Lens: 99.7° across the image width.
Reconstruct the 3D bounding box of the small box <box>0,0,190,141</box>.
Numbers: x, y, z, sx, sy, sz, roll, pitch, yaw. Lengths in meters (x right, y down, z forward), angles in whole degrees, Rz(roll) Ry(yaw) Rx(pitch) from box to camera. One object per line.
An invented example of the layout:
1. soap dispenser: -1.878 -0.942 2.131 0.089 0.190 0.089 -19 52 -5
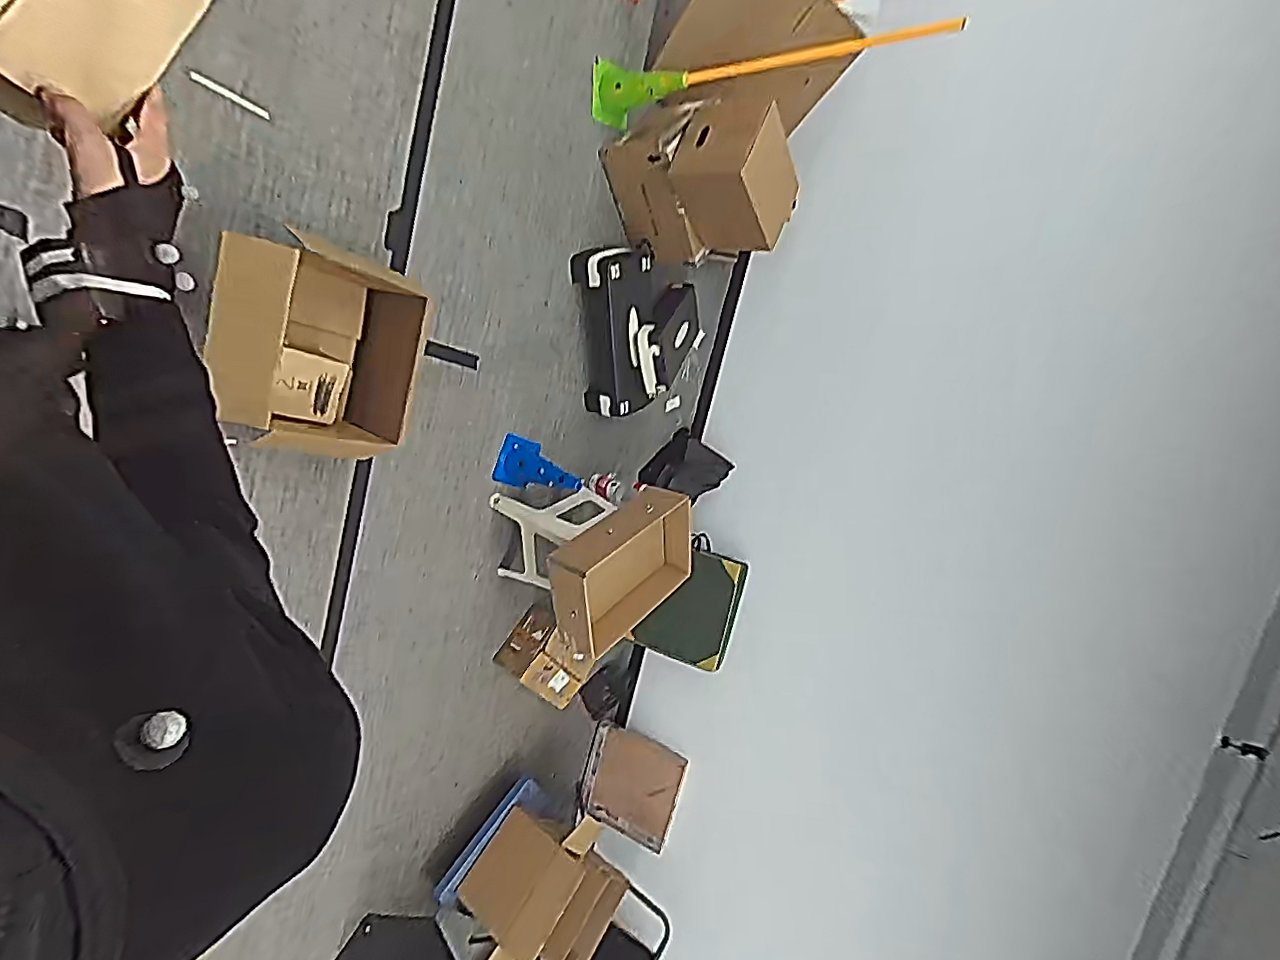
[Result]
1. small box: -0.509 -0.407 0.414 0.179 0.176 0.168 -66 159 -6
